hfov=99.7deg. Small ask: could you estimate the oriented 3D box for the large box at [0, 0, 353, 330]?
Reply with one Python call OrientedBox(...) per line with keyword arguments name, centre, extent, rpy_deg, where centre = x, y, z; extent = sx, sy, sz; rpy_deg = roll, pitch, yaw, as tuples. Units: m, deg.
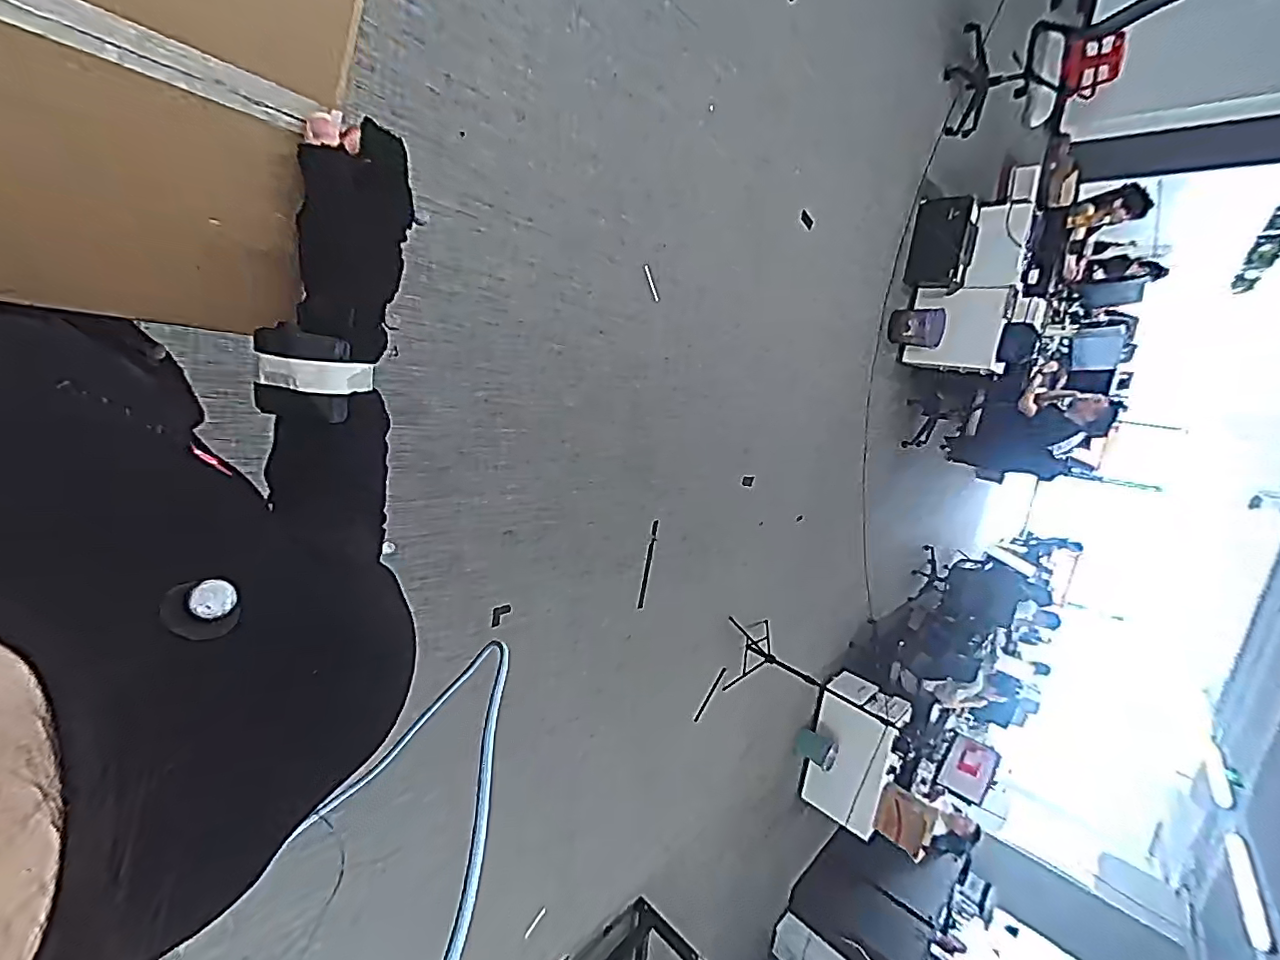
OrientedBox(name="large box", centre=(-0.414, -0.317, 0.266), extent=(0.408, 0.320, 0.320), rpy_deg=(-3, 138, -47))
